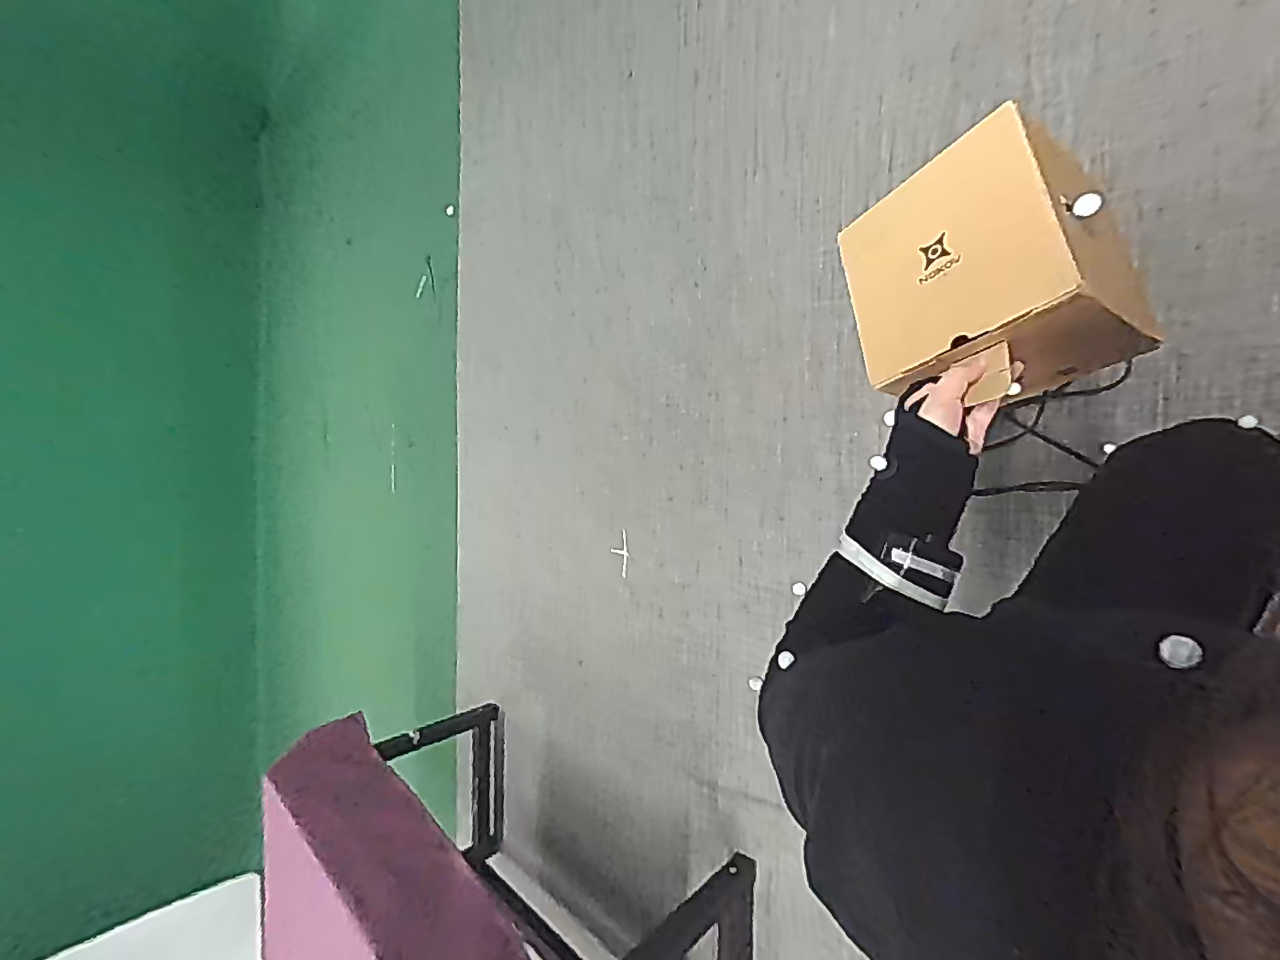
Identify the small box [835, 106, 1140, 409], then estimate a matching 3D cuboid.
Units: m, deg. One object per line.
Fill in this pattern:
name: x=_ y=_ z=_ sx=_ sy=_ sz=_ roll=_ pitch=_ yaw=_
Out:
small box: x=0.317 y=-0.186 z=0.508 sx=0.168 sy=0.176 sz=0.179 roll=-28 pitch=62 yaw=52
